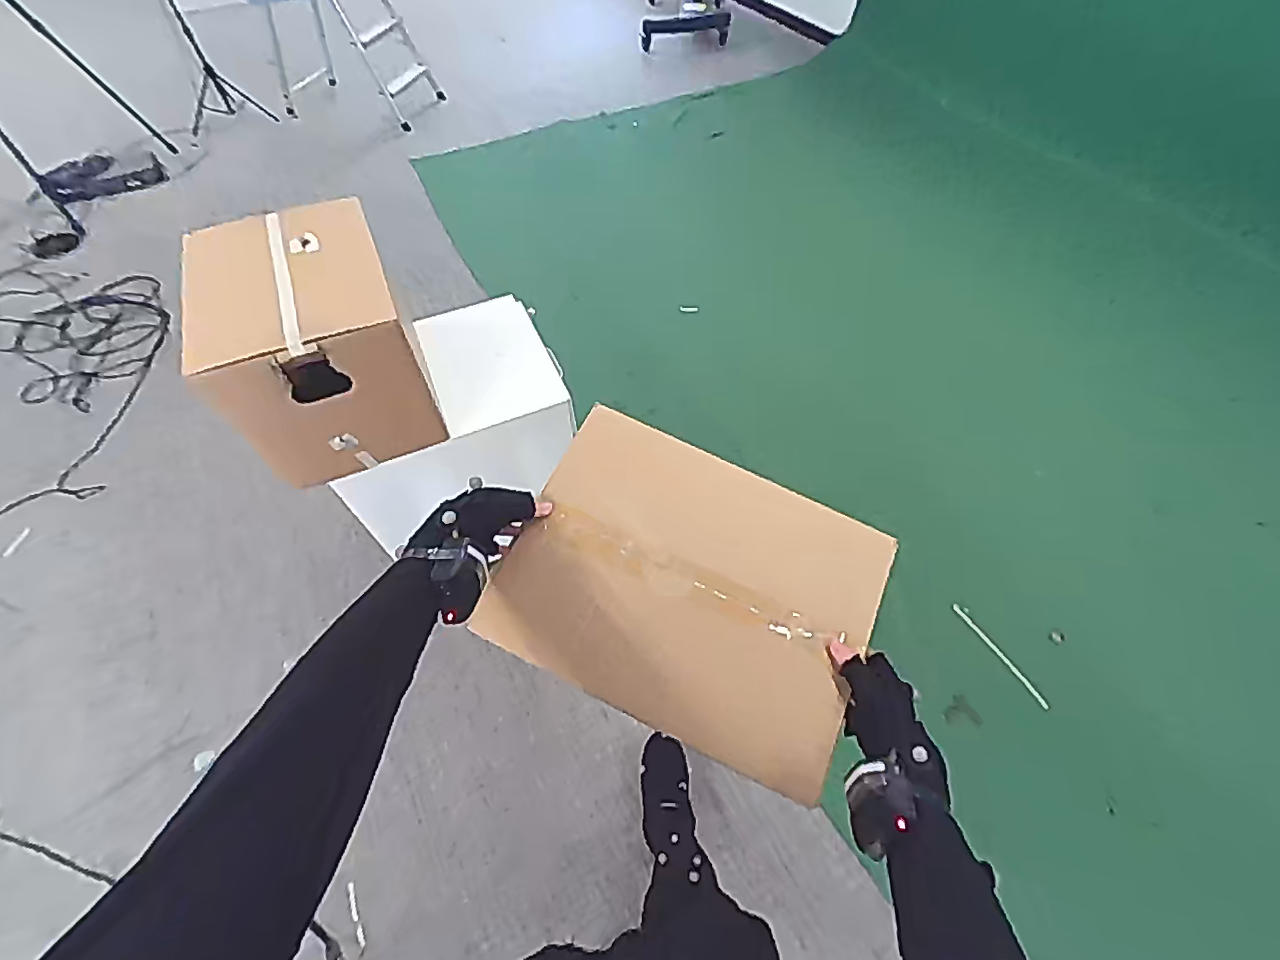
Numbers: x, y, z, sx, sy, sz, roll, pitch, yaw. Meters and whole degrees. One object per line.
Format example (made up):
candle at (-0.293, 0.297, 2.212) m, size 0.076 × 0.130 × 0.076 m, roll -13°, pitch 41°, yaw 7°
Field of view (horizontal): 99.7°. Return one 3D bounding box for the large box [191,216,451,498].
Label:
large box at (-0.609, -0.243, 1.060) m, size 0.320 × 0.320 × 0.408 m, roll -21°, pitch 57°, yaw -14°
